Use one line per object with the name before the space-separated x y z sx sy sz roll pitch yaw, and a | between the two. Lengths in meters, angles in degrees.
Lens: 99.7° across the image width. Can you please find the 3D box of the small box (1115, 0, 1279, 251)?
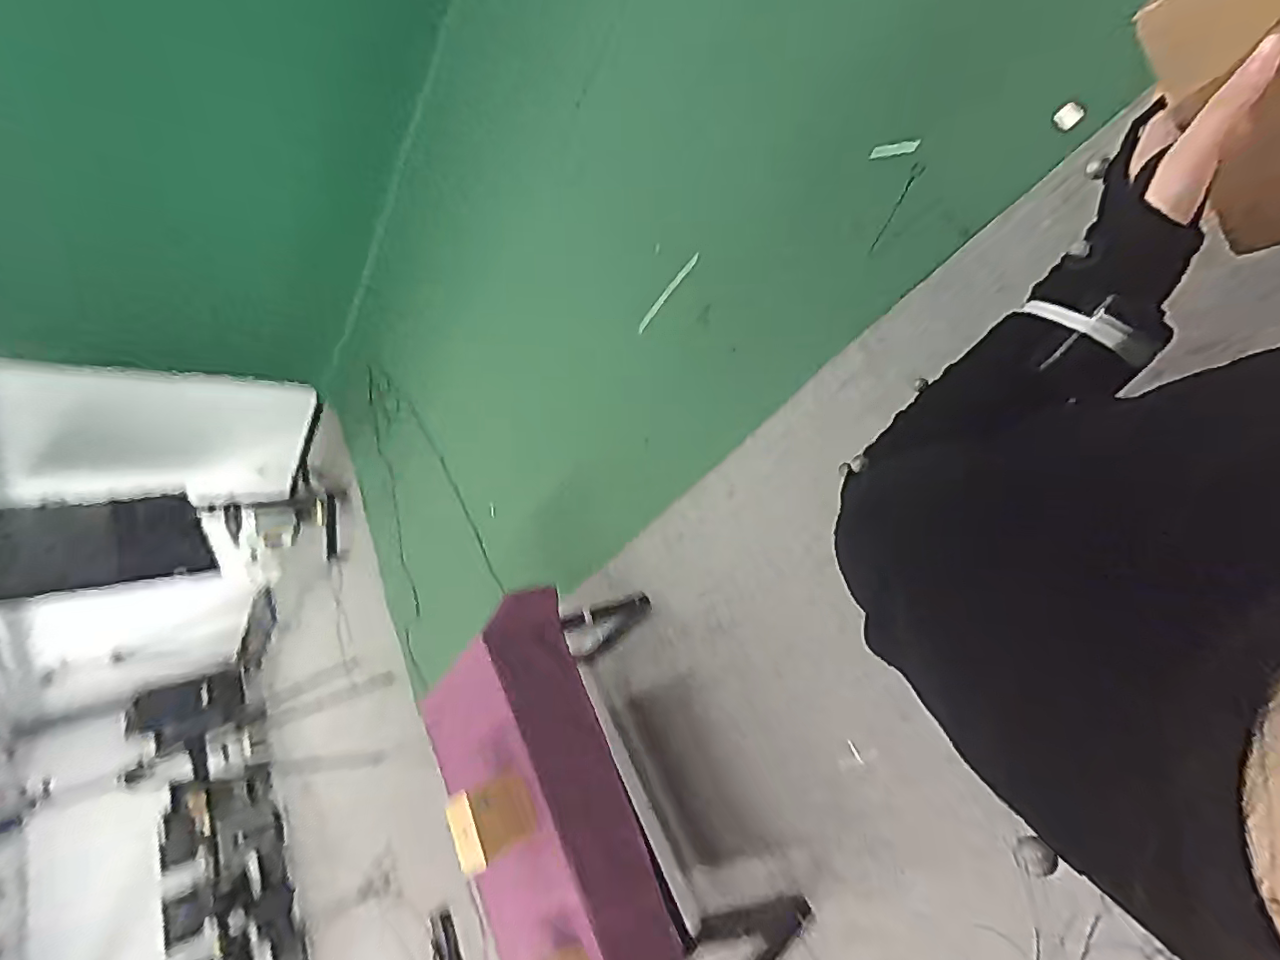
small box | 0.427 -0.272 0.297 0.179 0.176 0.168 48 164 -15

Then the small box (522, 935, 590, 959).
small box | -0.216 1.271 1.341 0.168 0.176 0.179 -45 61 37

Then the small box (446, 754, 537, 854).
small box | -0.414 0.905 1.518 0.168 0.176 0.179 -44 62 38
